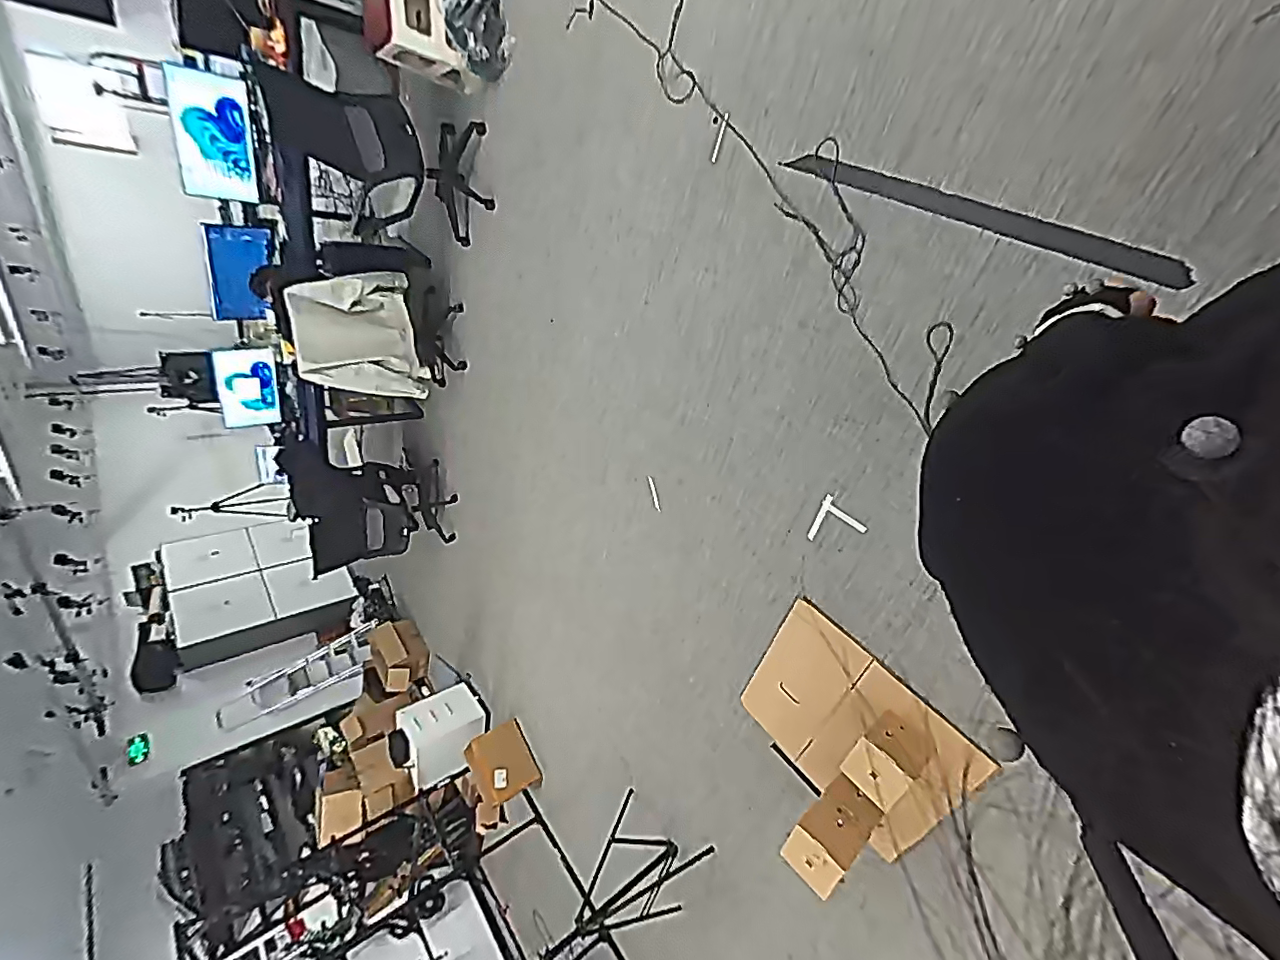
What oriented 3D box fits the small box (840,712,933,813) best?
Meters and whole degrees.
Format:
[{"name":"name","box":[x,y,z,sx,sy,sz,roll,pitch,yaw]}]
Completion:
[{"name":"small box","box":[0.742,0.836,1.618,0.168,0.176,0.179,40,129,36]}]

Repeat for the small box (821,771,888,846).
[{"name":"small box","box":[0.683,1.076,1.756,0.168,0.176,0.179,35,125,38]}]

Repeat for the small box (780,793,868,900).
[{"name":"small box","box":[0.563,1.111,1.648,0.168,0.176,0.179,36,126,36]}]
